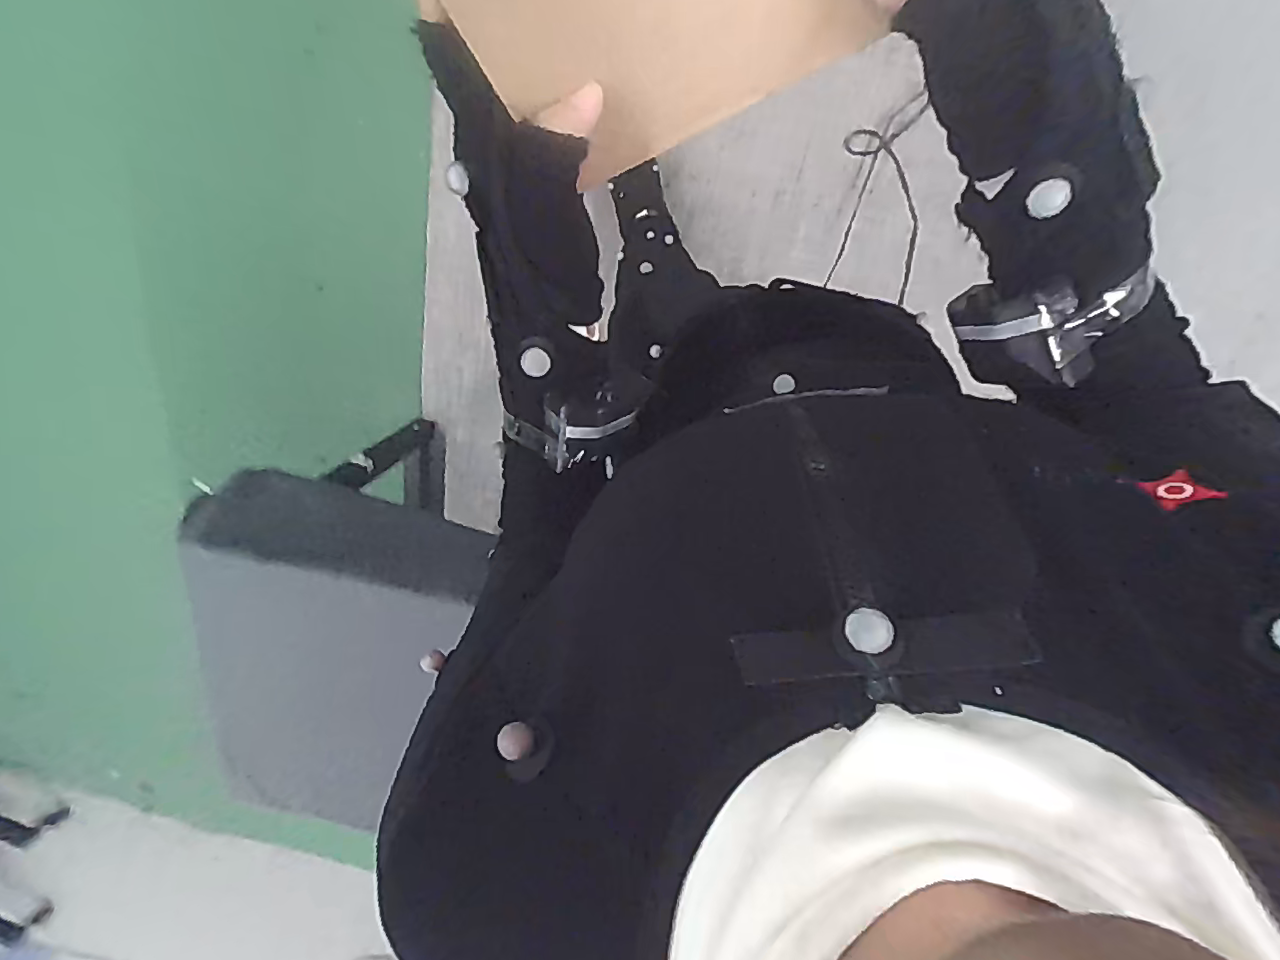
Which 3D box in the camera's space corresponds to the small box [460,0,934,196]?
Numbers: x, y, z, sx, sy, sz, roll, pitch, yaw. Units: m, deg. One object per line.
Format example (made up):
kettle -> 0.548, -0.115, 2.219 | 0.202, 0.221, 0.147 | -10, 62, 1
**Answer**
small box -> 0.007, -0.273, 0.227 | 0.179, 0.176, 0.168 | -18, 143, 23
